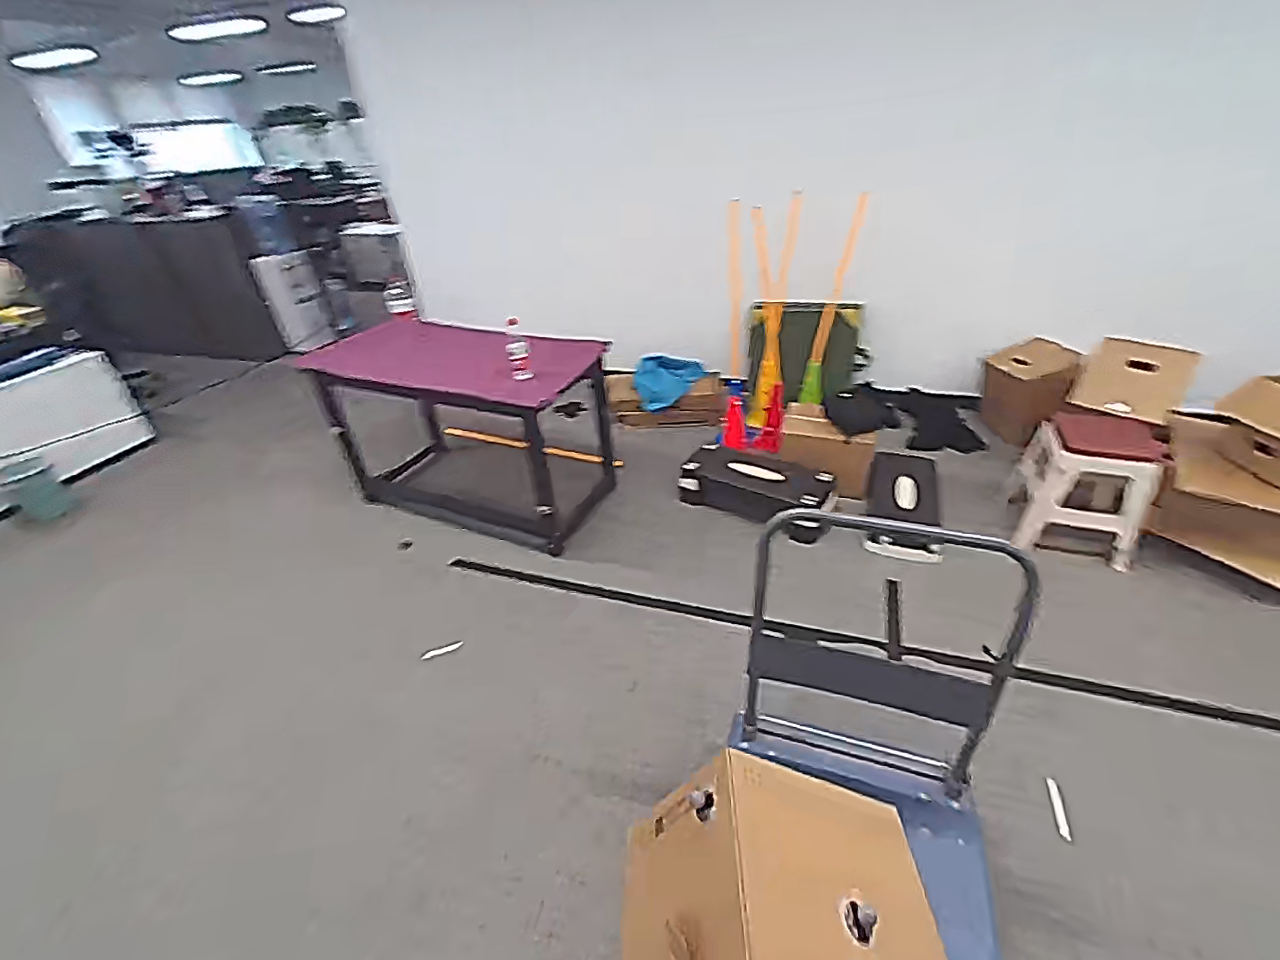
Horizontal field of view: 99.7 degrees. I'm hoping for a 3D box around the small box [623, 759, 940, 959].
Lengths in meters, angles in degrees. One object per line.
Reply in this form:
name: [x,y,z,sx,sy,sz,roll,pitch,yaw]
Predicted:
small box: [0.095,0.342,0.411,0.179,0.168,0.176,25,31,-16]
